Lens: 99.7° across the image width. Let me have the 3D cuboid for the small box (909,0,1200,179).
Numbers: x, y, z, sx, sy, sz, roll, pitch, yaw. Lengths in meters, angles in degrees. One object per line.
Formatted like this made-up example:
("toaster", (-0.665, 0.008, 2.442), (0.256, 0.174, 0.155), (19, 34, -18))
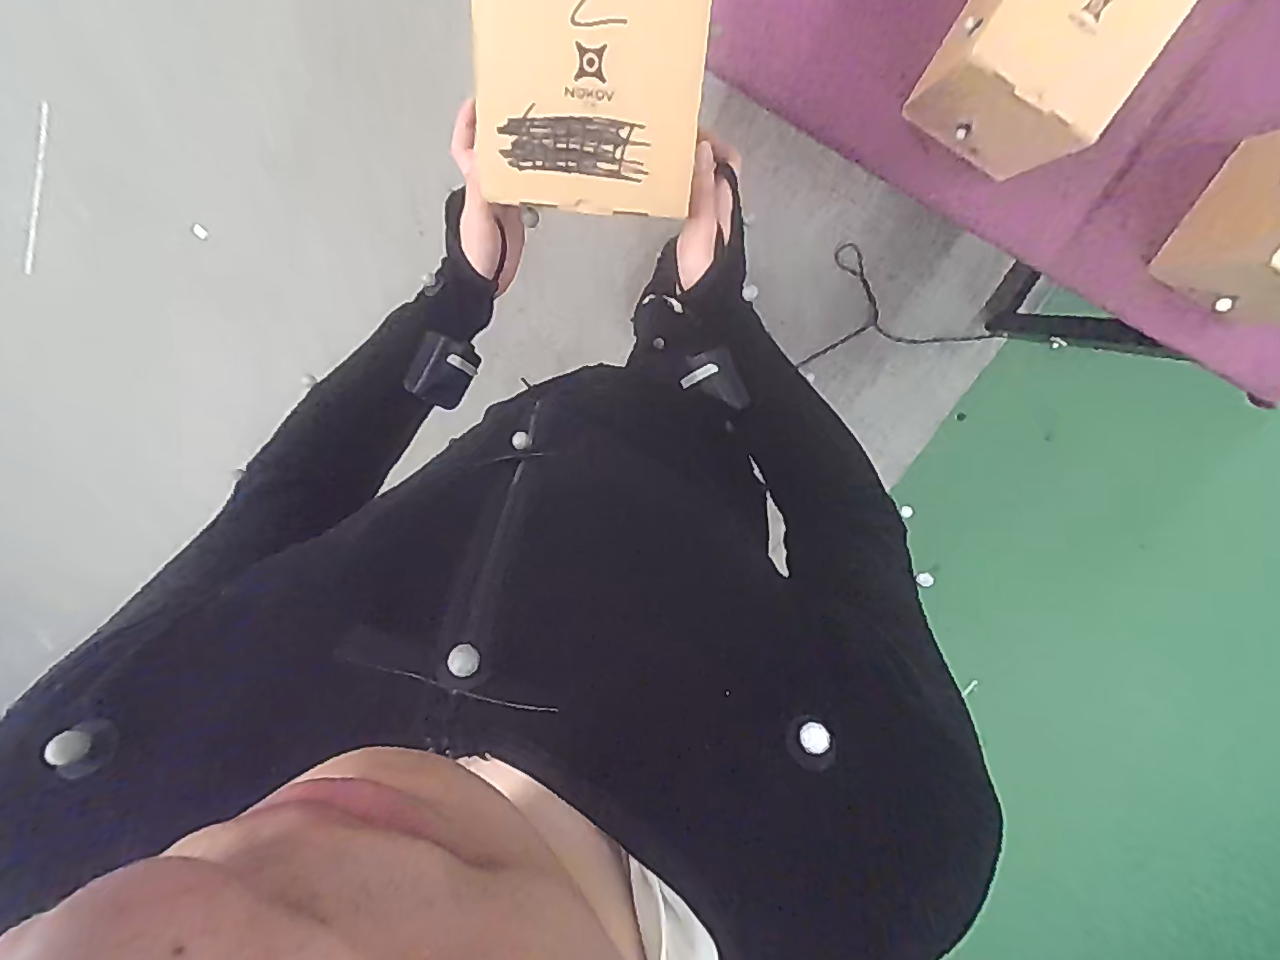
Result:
("small box", (0.440, -0.475, 0.599), (0.168, 0.176, 0.179), (28, 107, -6))

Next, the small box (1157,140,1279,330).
("small box", (0.789, -0.290, 0.635), (0.168, 0.176, 0.179), (27, 108, -4))
